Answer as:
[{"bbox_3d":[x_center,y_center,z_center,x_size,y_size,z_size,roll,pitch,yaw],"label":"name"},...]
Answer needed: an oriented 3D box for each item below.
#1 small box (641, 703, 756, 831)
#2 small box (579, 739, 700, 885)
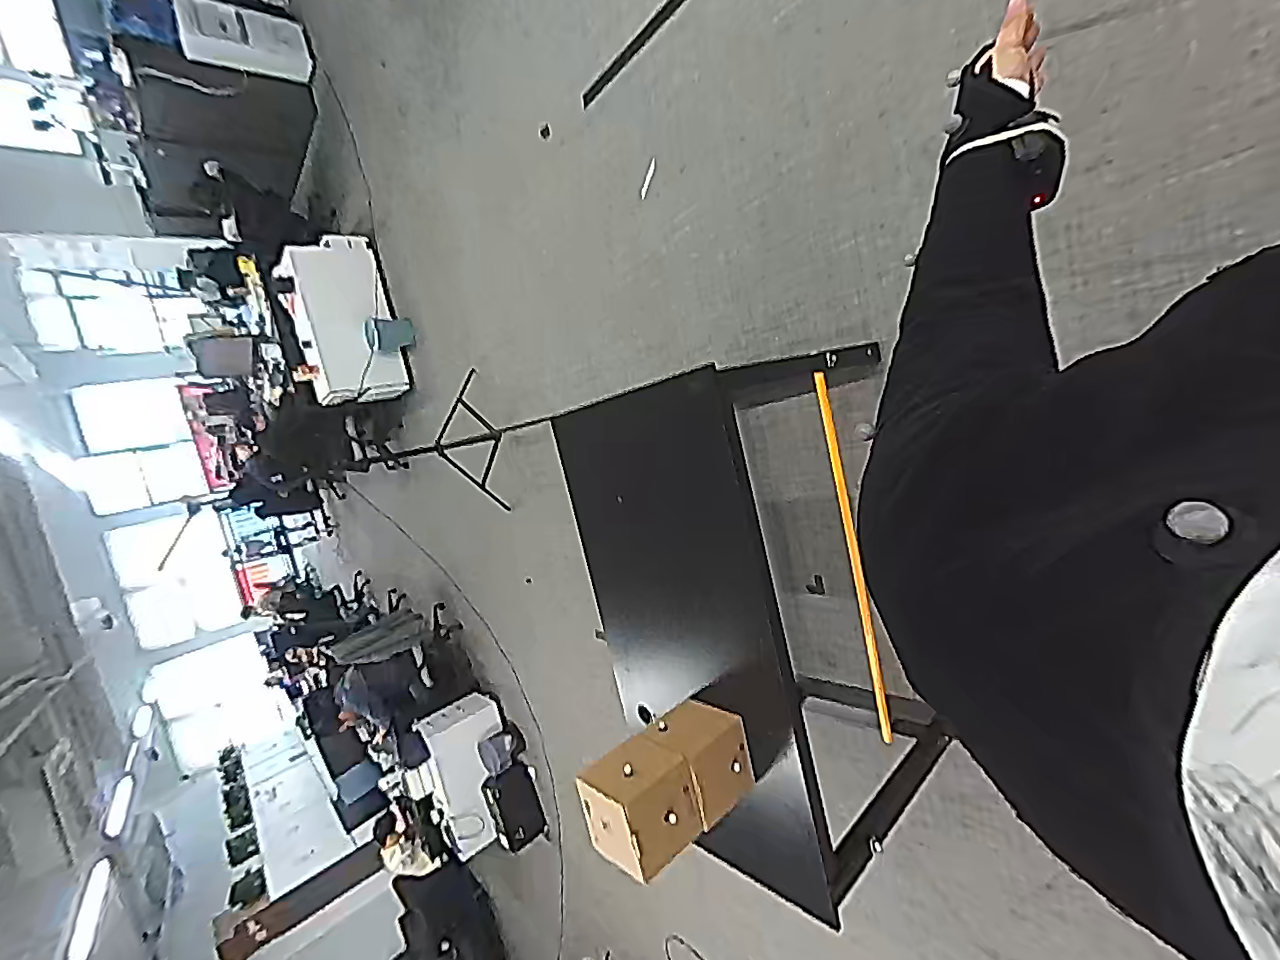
[{"bbox_3d":[0.132,0.627,1.213,0.179,0.176,0.168,-5,100,50],"label":"small box"},{"bbox_3d":[0.005,0.669,1.118,0.179,0.176,0.168,-9,96,50],"label":"small box"}]
